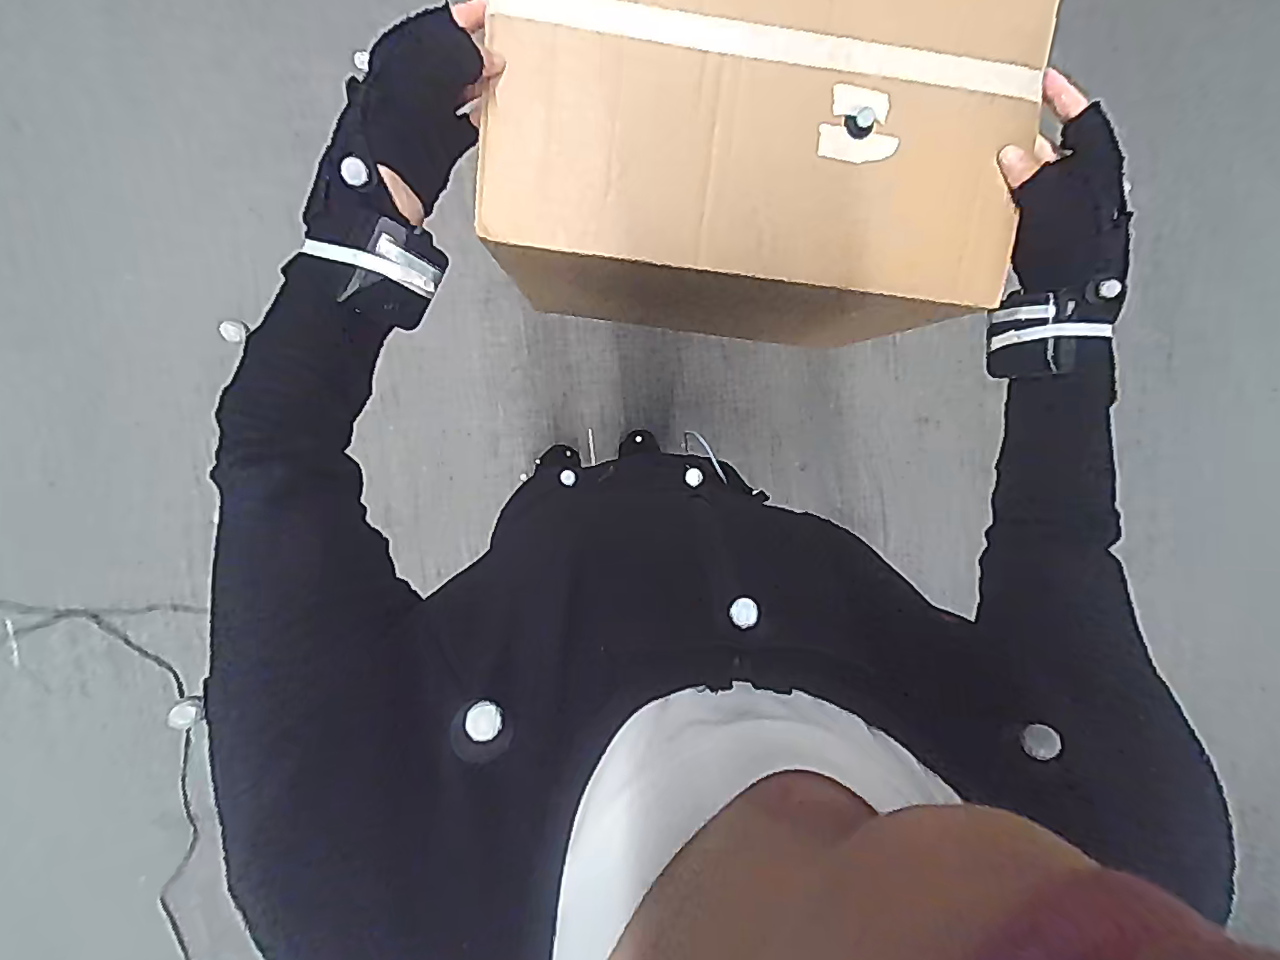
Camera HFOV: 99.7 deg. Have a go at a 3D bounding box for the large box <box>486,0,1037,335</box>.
[{"bbox_3d":[0.081,-0.336,0.544,0.408,0.320,0.320,5,98,-4],"label":"large box"}]
